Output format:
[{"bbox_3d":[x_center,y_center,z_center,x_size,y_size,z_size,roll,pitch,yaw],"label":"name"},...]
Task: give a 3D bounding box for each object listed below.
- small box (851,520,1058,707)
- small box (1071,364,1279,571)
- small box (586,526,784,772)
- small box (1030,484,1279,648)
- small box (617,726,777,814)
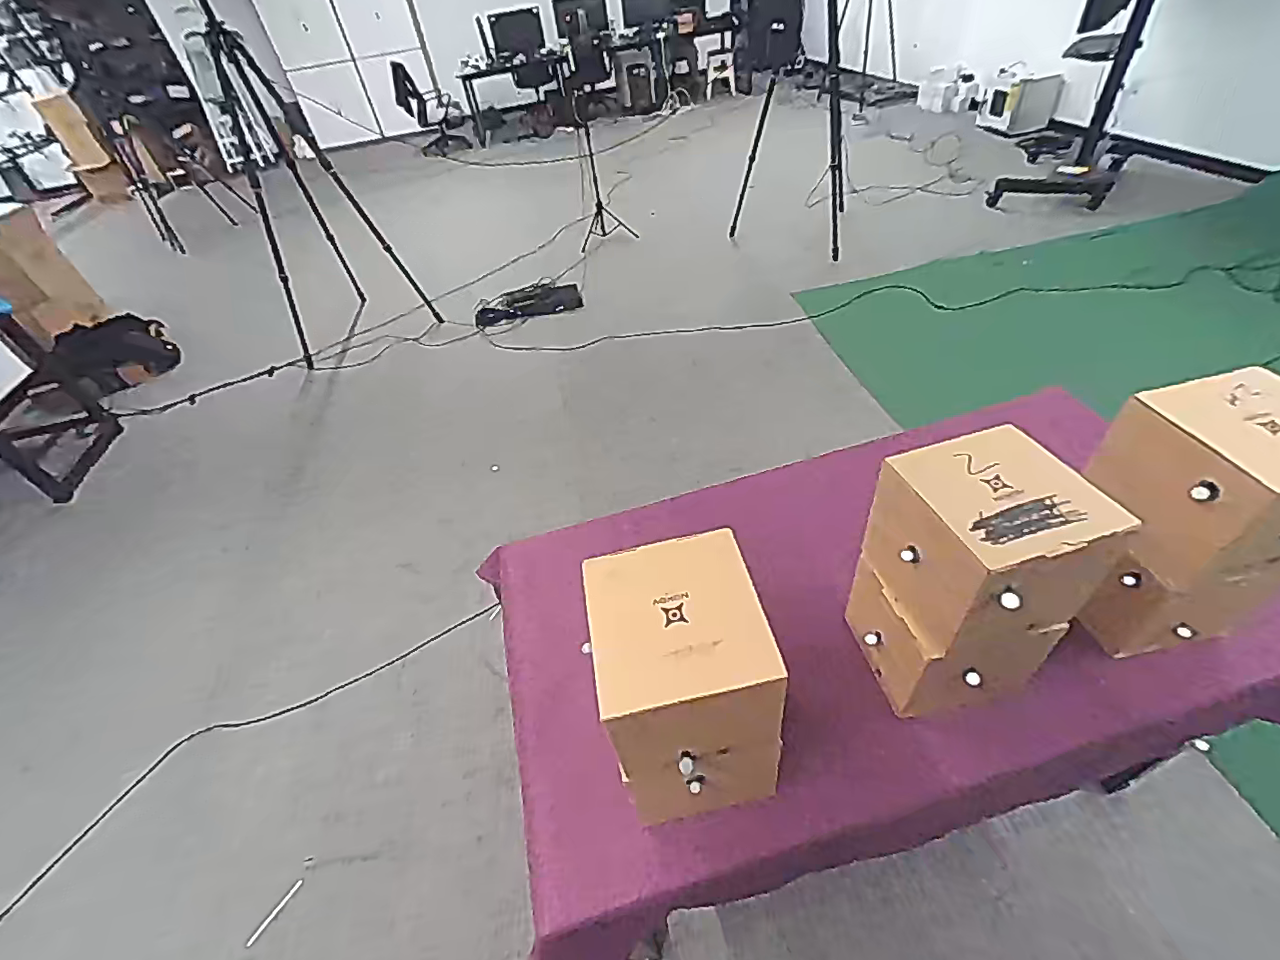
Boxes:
[{"bbox_3d":[0.407,0.186,0.741,0.179,0.176,0.168,-13,44,-2],"label":"small box"},{"bbox_3d":[0.686,-0.010,0.651,0.168,0.176,0.179,-13,44,-3],"label":"small box"},{"bbox_3d":[0.042,0.180,0.580,0.168,0.176,0.179,-12,44,-1],"label":"small box"},{"bbox_3d":[0.707,0.107,0.765,0.168,0.176,0.179,-12,44,-1],"label":"small box"},{"bbox_3d":[0.062,0.299,0.690,0.179,0.176,0.168,-12,43,-3],"label":"small box"}]
